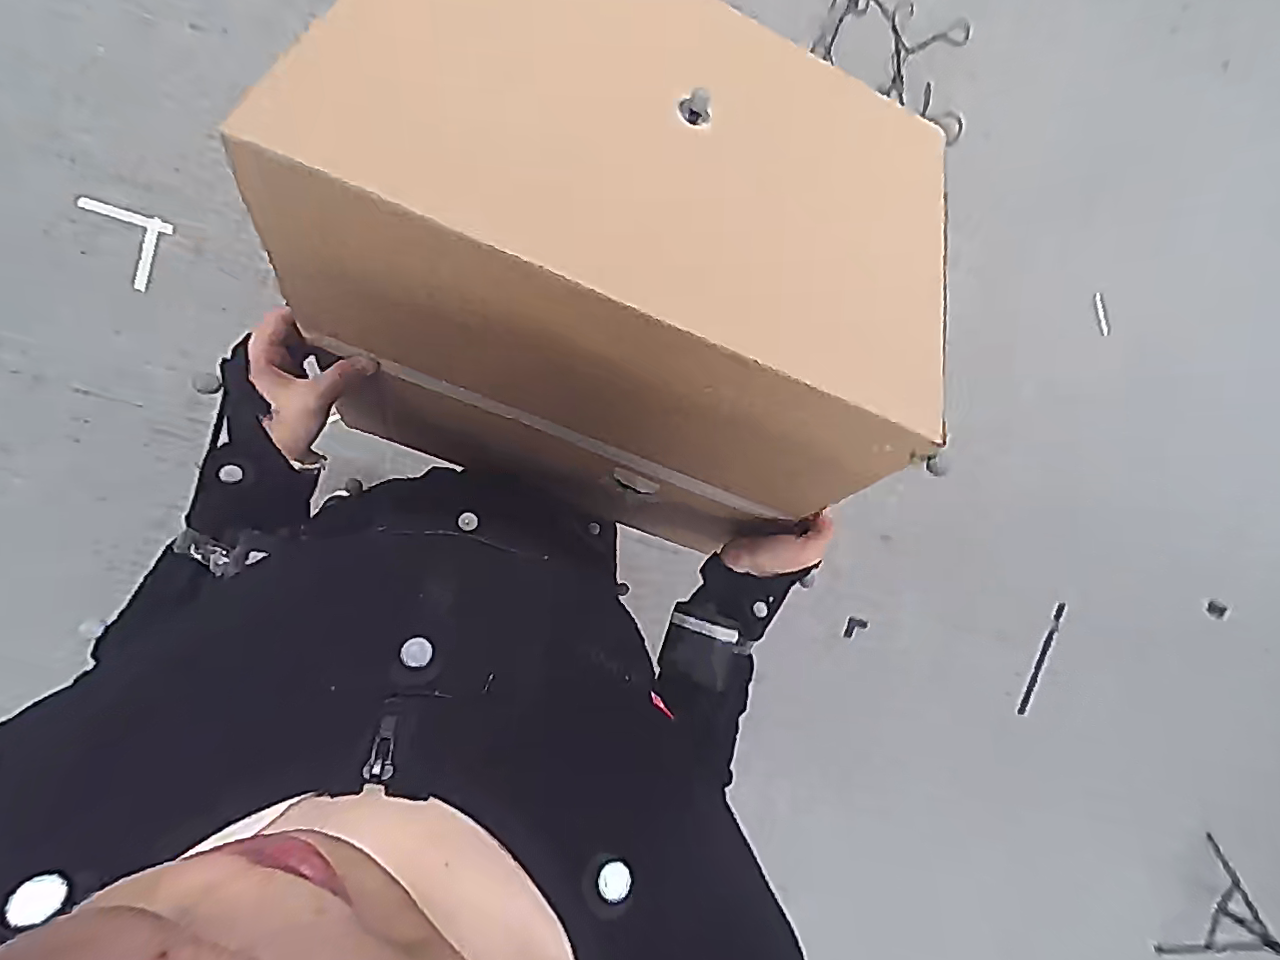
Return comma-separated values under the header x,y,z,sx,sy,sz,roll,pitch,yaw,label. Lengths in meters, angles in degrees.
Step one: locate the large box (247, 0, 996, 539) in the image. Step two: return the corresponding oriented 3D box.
x,y,z,sx,sy,sz,roll,pitch,yaw,label
0.004,-0.187,0.458,0.408,0.320,0.320,20,66,-10,large box
